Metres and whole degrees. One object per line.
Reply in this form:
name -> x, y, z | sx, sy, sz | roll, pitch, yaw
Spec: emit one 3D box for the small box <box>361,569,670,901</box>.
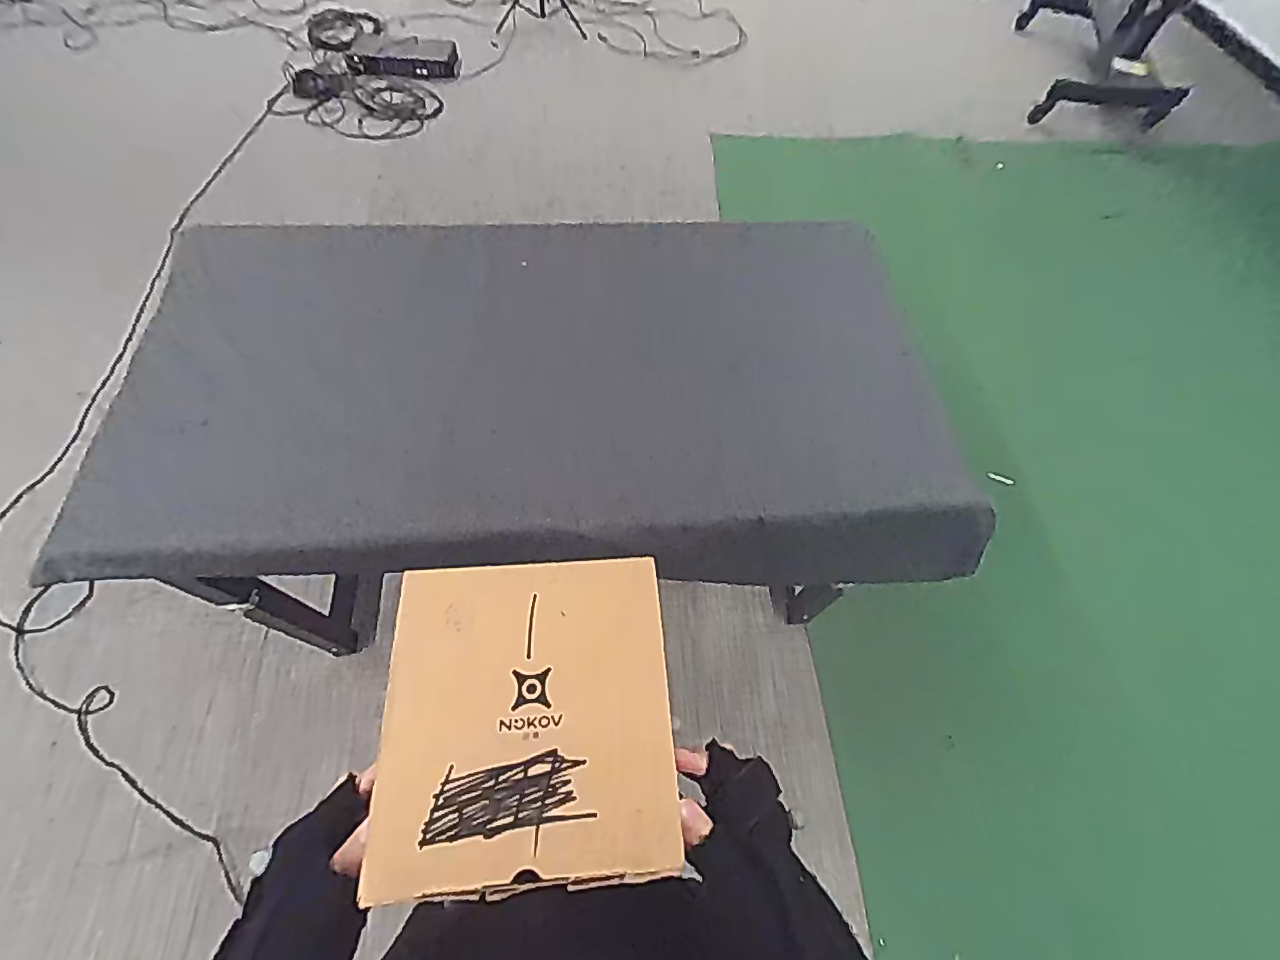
small box -> -0.071, 0.177, 0.392 | 0.168, 0.176, 0.179 | -1, 60, -5
